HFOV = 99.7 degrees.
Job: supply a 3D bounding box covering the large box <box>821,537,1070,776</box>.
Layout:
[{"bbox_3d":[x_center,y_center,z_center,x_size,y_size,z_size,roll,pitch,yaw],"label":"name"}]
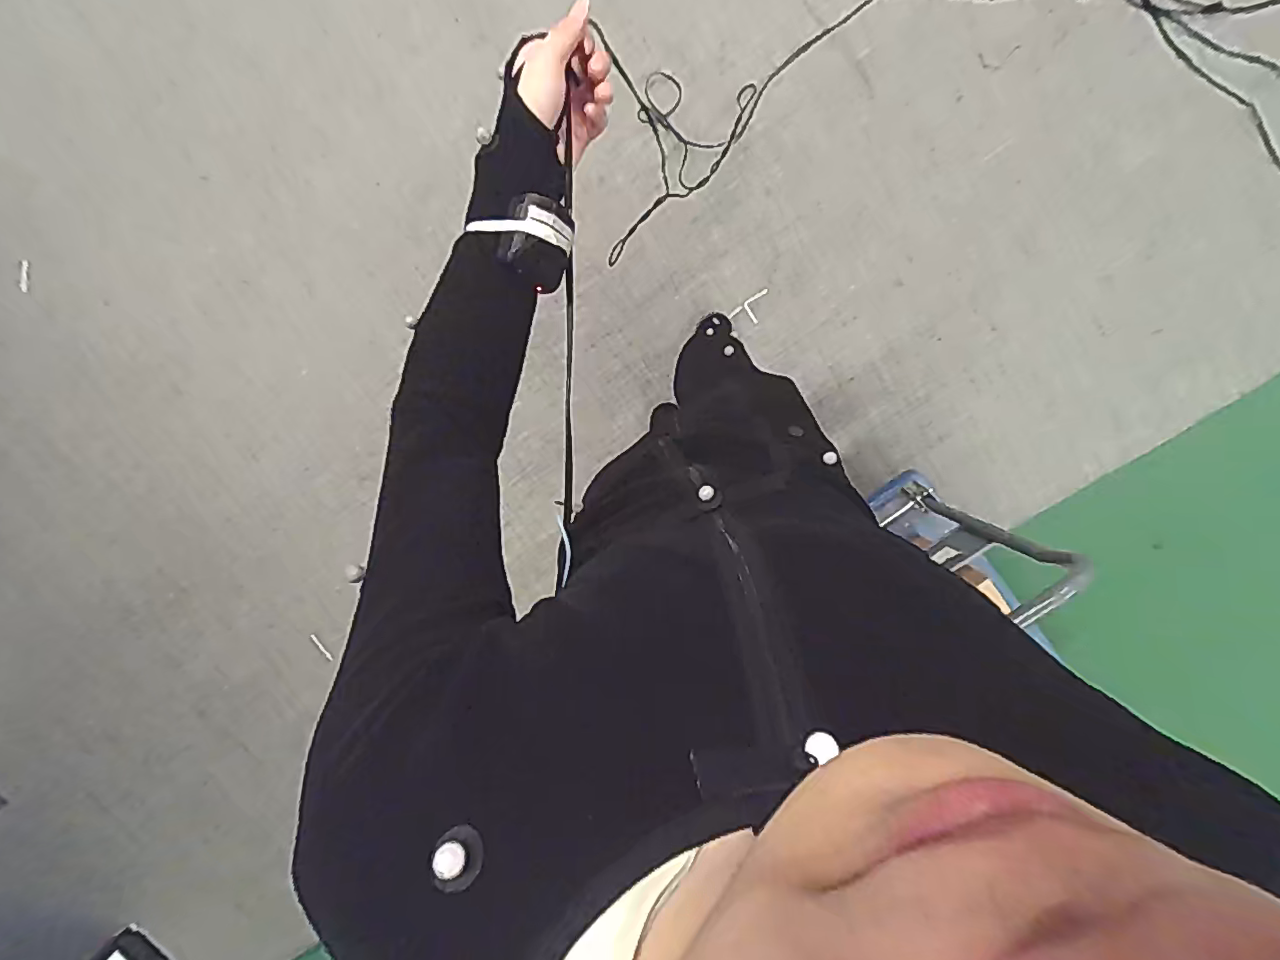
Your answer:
[{"bbox_3d":[0.730,0.418,1.352,0.320,0.320,0.408,-36,98,9],"label":"large box"}]
